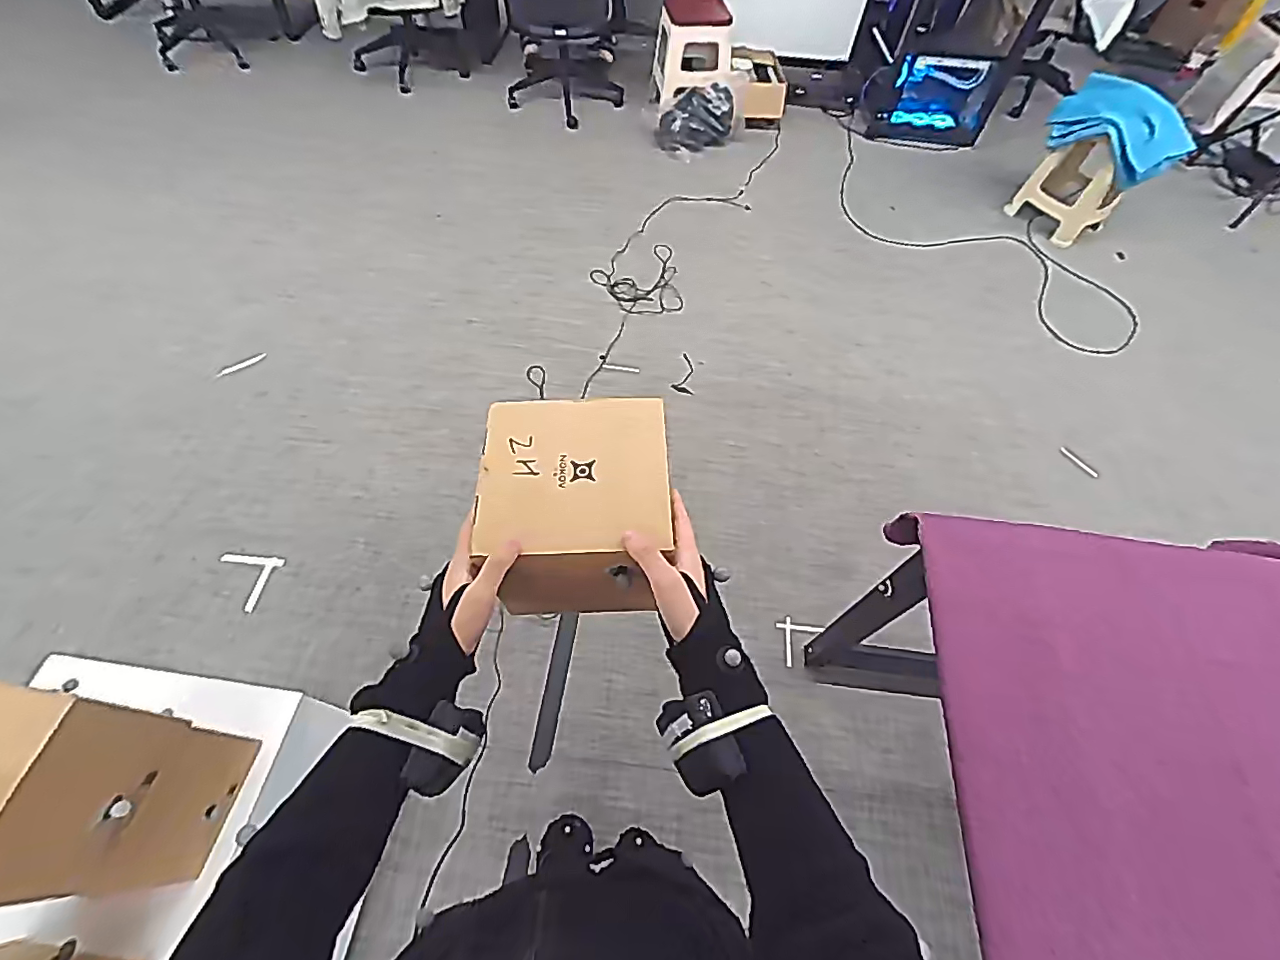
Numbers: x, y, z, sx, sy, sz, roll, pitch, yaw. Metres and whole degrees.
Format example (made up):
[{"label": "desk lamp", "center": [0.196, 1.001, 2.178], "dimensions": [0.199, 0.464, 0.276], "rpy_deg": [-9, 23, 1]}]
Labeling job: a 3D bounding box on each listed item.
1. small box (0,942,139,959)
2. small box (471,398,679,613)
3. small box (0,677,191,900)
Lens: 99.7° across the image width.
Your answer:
[{"label": "small box", "center": [-0.660, 0.587, 0.534], "dimensions": [0.179, 0.176, 0.168], "rpy_deg": [7, 59, 3]}, {"label": "small box", "center": [-0.056, 0.032, 0.560], "dimensions": [0.179, 0.176, 0.168], "rpy_deg": [-2, 59, 0]}, {"label": "small box", "center": [-0.611, 0.293, 0.525], "dimensions": [0.179, 0.176, 0.168], "rpy_deg": [10, 59, 2]}]
